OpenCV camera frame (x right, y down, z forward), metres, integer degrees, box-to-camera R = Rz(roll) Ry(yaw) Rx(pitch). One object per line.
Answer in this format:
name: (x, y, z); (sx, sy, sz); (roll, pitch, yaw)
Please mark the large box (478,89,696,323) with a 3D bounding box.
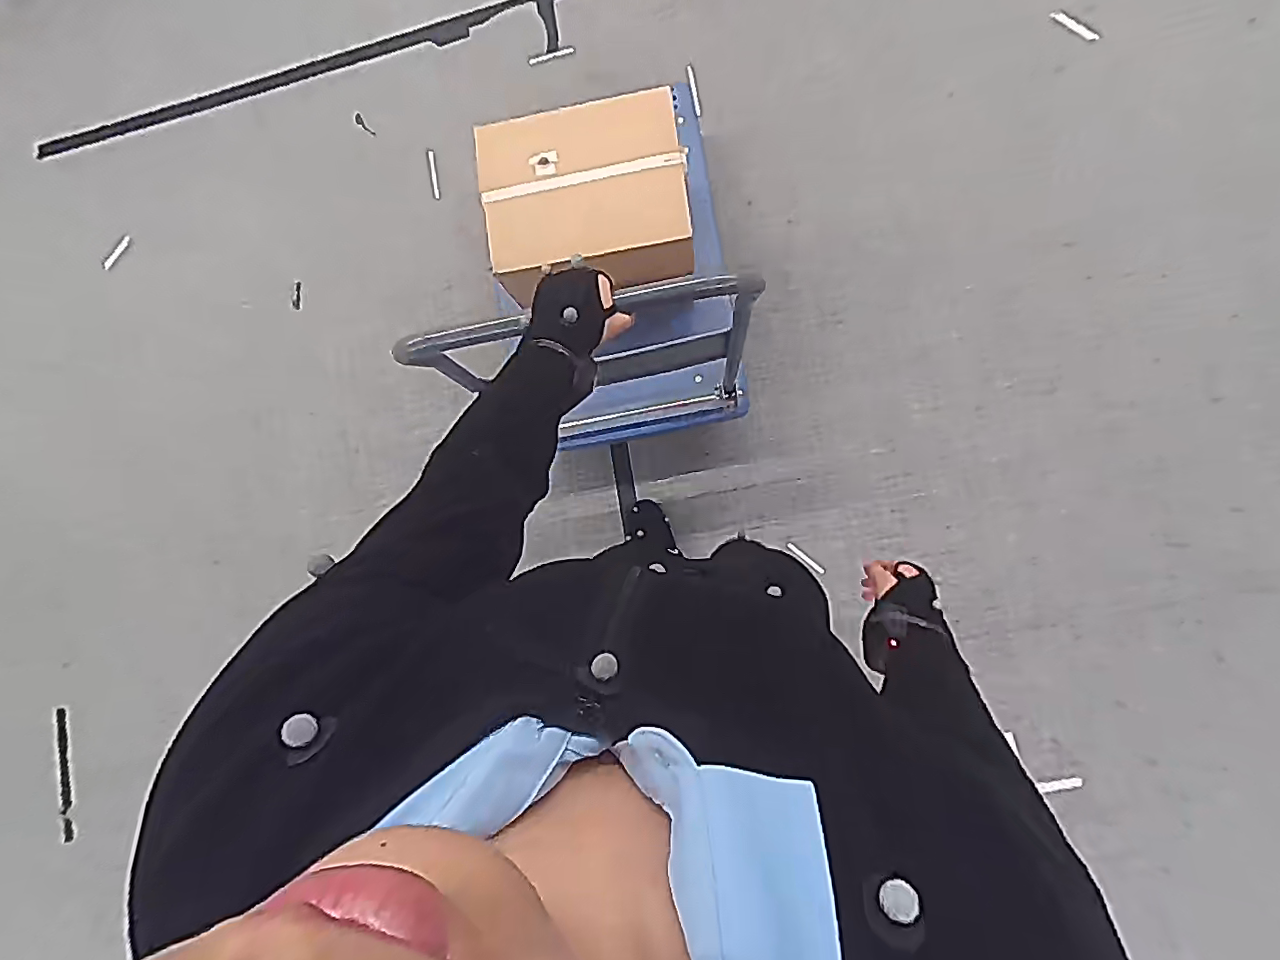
large box: (-0.098, -0.586, 1.225); (0.408, 0.320, 0.320); (-9, 85, 7)
